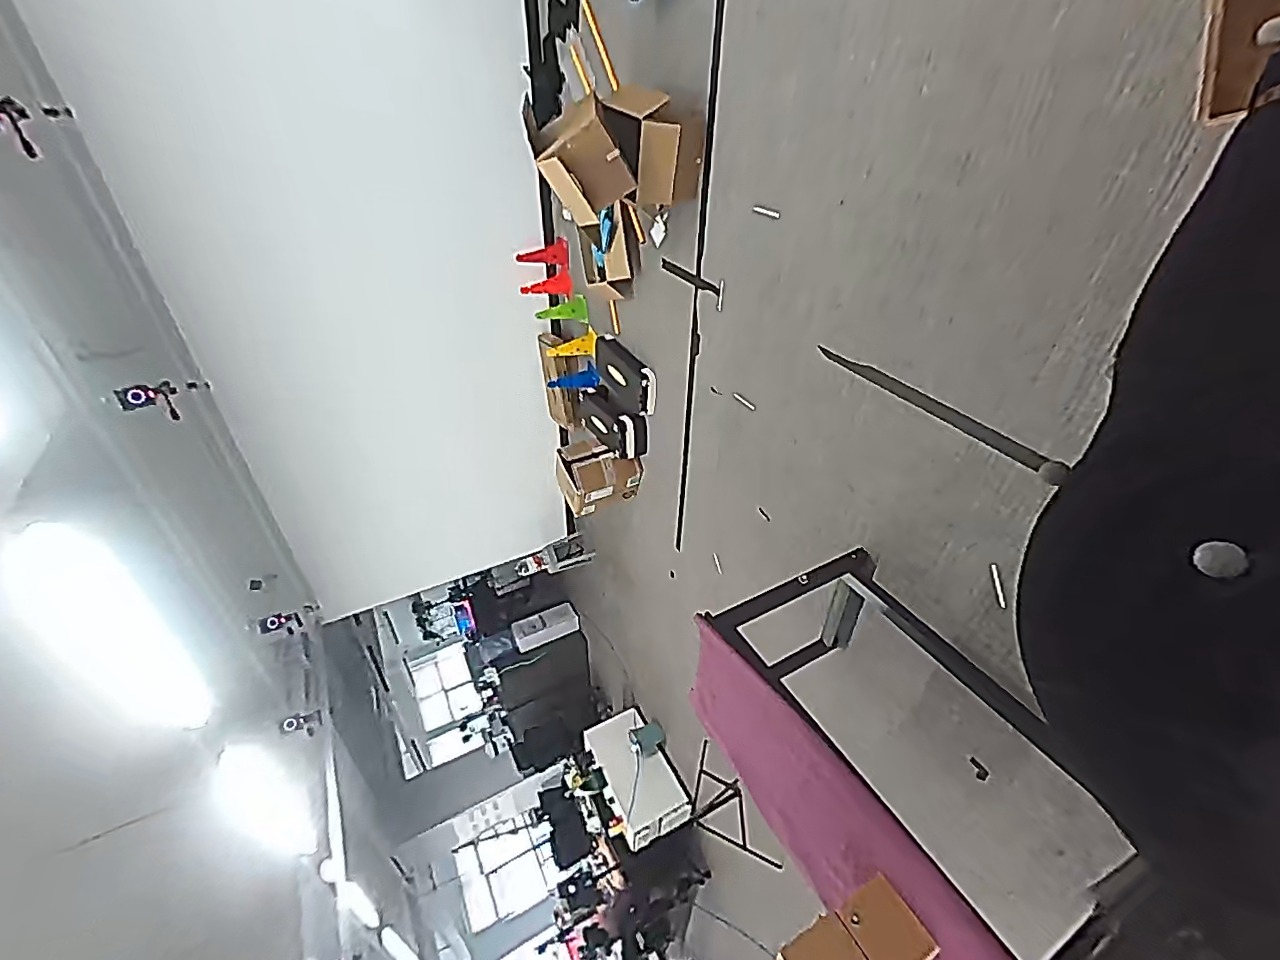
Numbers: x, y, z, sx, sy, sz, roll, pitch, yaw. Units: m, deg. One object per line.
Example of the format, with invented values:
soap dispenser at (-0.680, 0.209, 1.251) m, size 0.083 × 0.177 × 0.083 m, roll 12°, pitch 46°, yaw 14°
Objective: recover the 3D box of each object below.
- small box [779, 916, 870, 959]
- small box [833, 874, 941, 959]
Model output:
small box at (0.436, 1.147, 1.234) m, size 0.179 × 0.176 × 0.168 m, roll 45°, pitch 146°, yaw 47°
small box at (0.581, 1.106, 1.299) m, size 0.179 × 0.176 × 0.168 m, roll 46°, pitch 146°, yaw 47°
